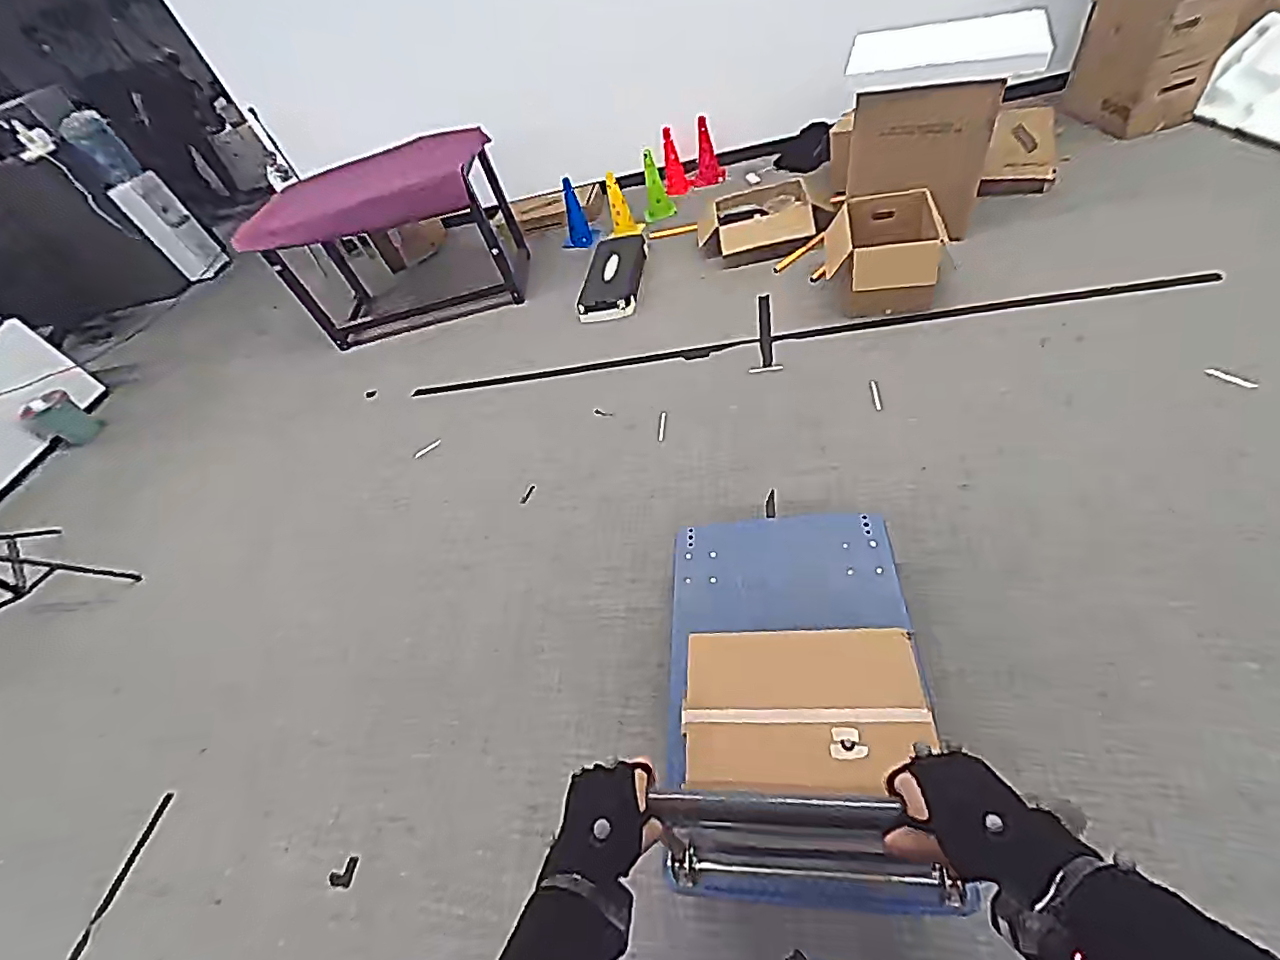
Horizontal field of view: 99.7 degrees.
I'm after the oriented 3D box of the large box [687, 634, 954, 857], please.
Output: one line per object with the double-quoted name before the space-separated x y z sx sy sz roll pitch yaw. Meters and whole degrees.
"large box" 0.309 0.509 1.034 0.408 0.320 0.320 -5 50 12
